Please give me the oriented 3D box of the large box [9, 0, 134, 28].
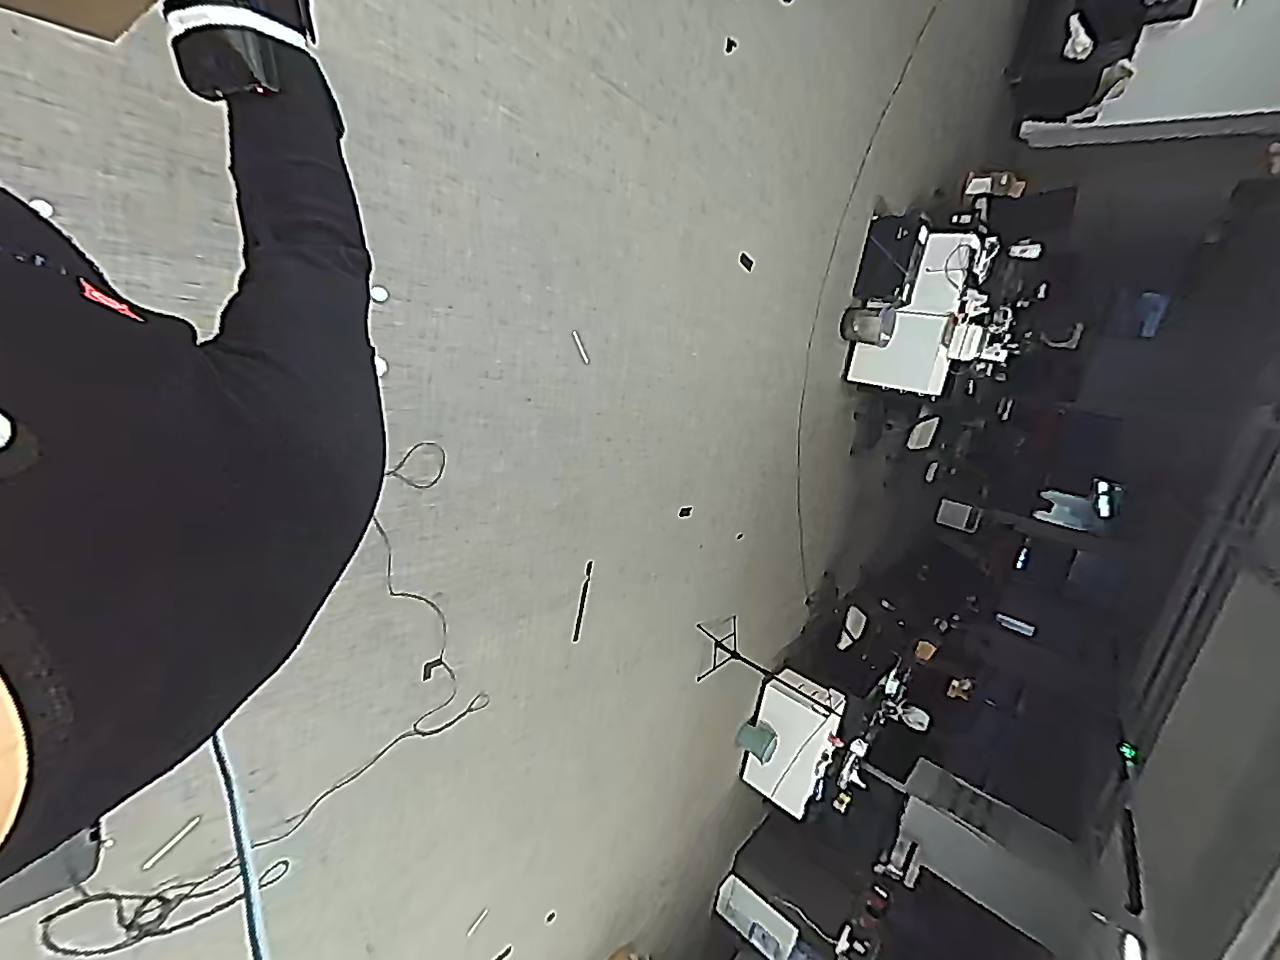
[{"bbox_3d":[-0.503,-0.487,0.232,0.408,0.320,0.320,-14,120,-48],"label":"large box"}]
